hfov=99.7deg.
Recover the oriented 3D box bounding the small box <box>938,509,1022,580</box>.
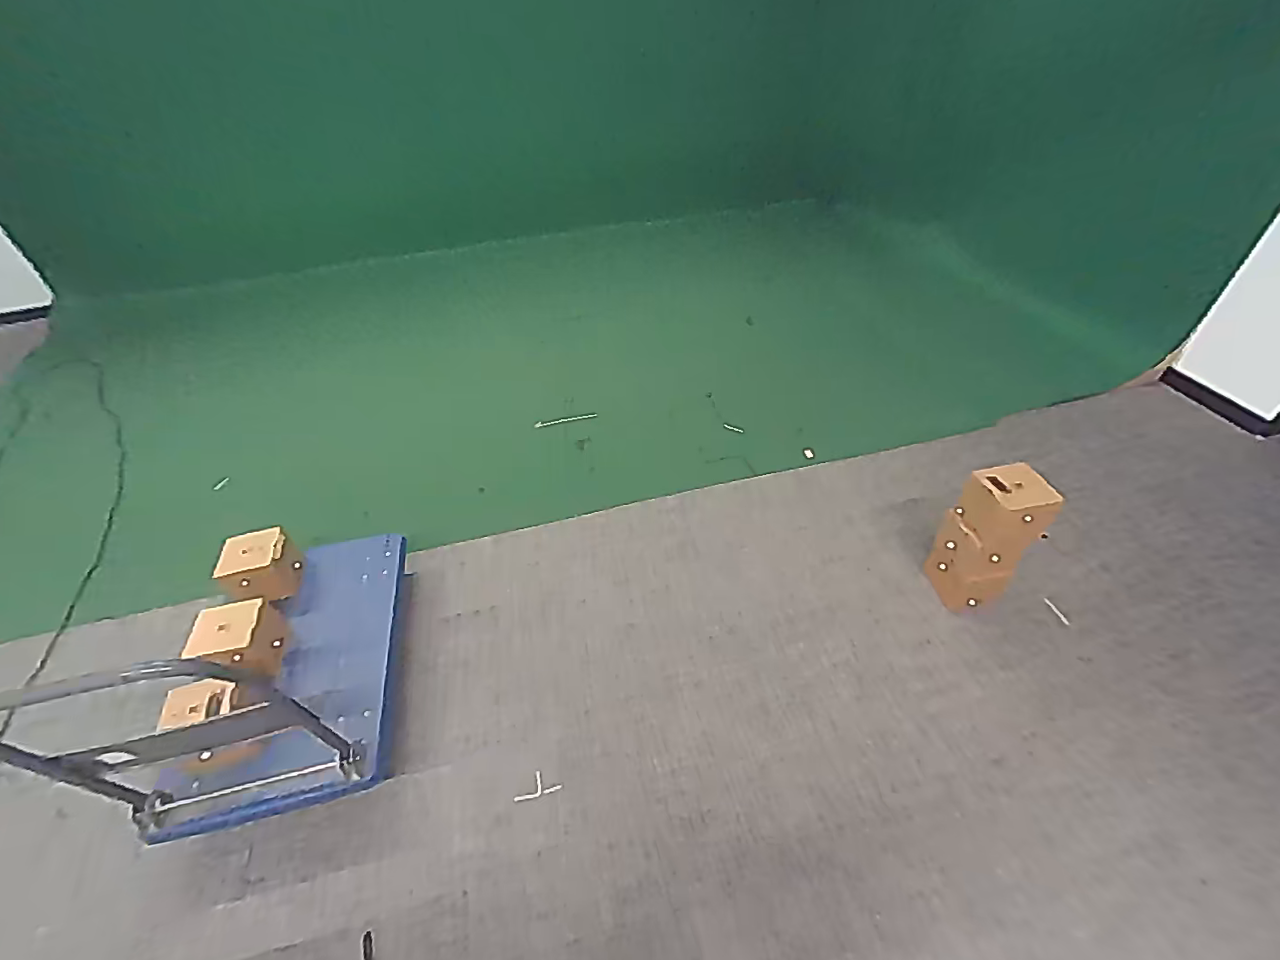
[{"bbox_3d":[1.082,0.199,1.726,0.179,0.176,0.168,-10,44,-3],"label":"small box"}]

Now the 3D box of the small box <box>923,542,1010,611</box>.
[{"bbox_3d":[1.098,0.319,1.836,0.168,0.176,0.179,-9,44,-3],"label":"small box"}]

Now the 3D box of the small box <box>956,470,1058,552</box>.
[{"bbox_3d":[1.082,0.097,1.618,0.179,0.176,0.168,-9,44,-4],"label":"small box"}]

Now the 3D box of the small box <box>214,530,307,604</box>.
[{"bbox_3d":[-1.250,0.296,1.794,0.179,0.176,0.168,-12,46,-8],"label":"small box"}]

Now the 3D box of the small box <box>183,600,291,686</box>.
[{"bbox_3d":[-1.182,0.485,1.599,0.179,0.176,0.168,-10,44,-8],"label":"small box"}]
